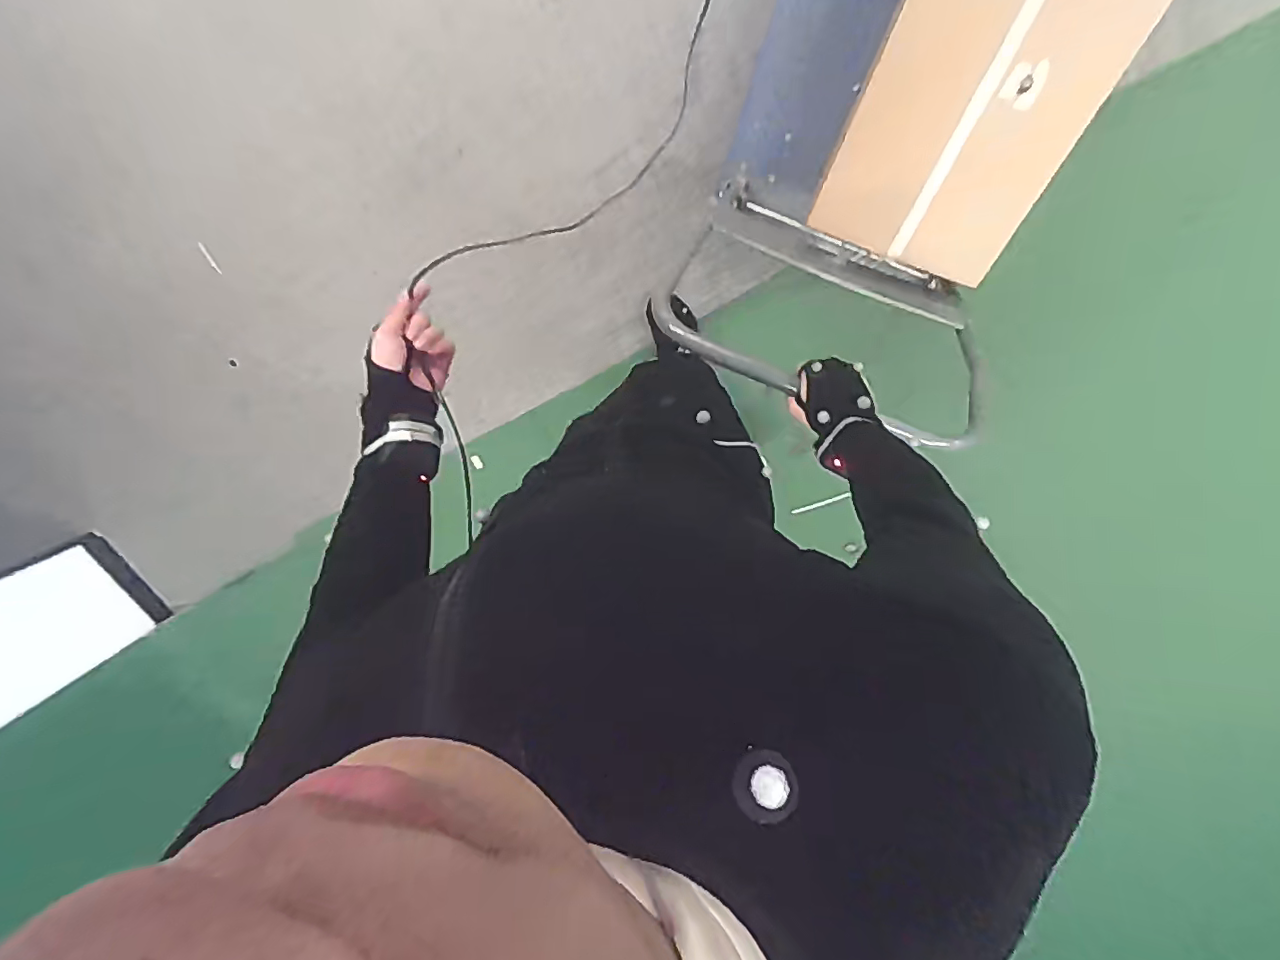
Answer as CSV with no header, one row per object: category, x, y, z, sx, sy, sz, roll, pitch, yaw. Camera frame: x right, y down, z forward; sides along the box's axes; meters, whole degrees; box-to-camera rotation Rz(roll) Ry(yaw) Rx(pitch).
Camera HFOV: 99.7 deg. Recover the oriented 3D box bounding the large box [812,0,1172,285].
large box,0.536,-0.617,0.934,0.320,0.320,0.408,24,128,3
